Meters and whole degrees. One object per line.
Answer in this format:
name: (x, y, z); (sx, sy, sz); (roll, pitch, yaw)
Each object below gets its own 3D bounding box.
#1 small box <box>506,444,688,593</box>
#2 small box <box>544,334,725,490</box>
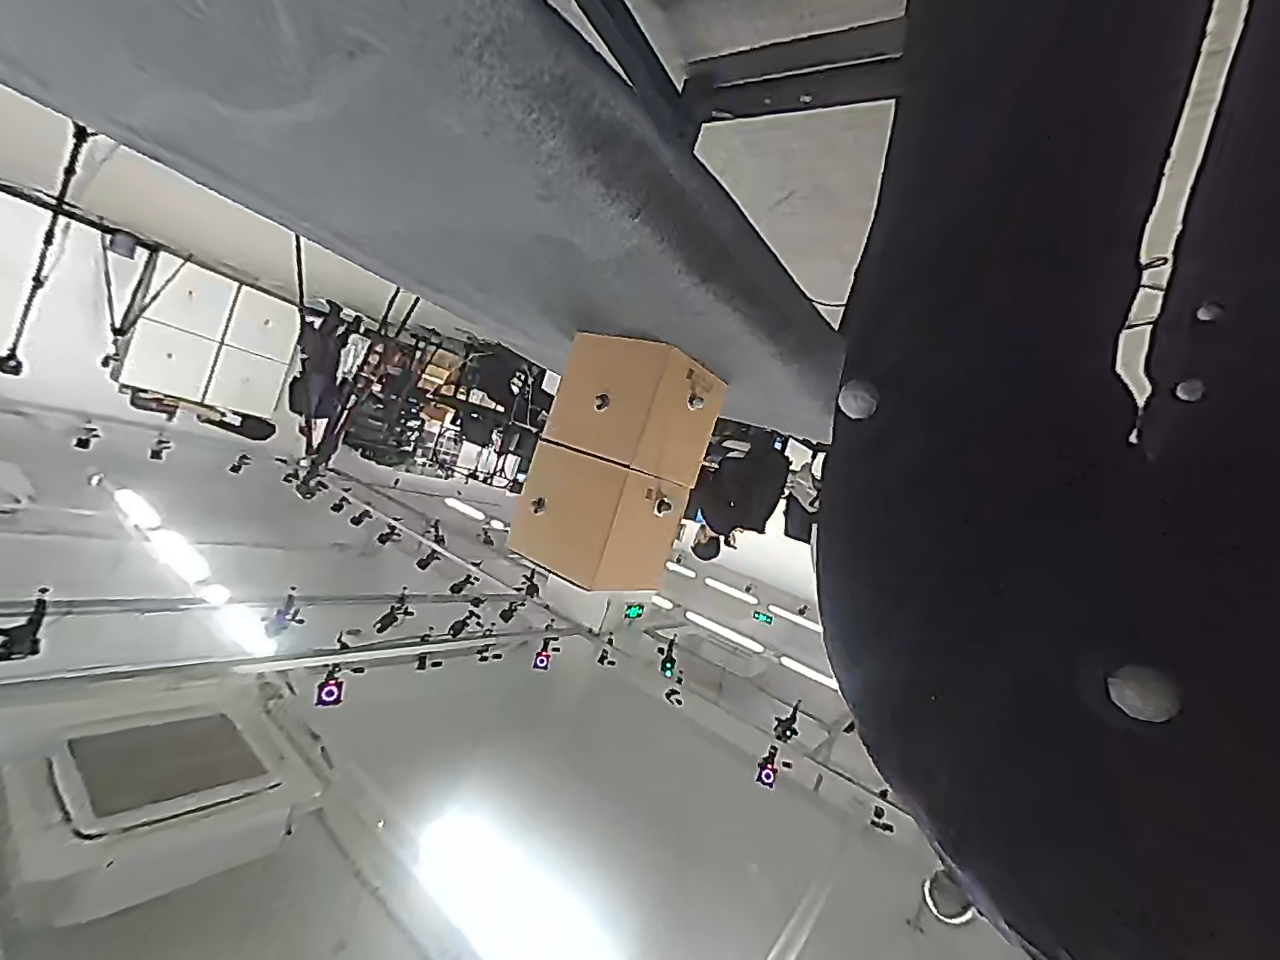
small box: (-0.058, 0.052, 0.783); (0.179, 0.176, 0.168); (17, -179, 36)
small box: (-0.004, -0.101, 0.787); (0.179, 0.176, 0.168); (18, 180, 37)
